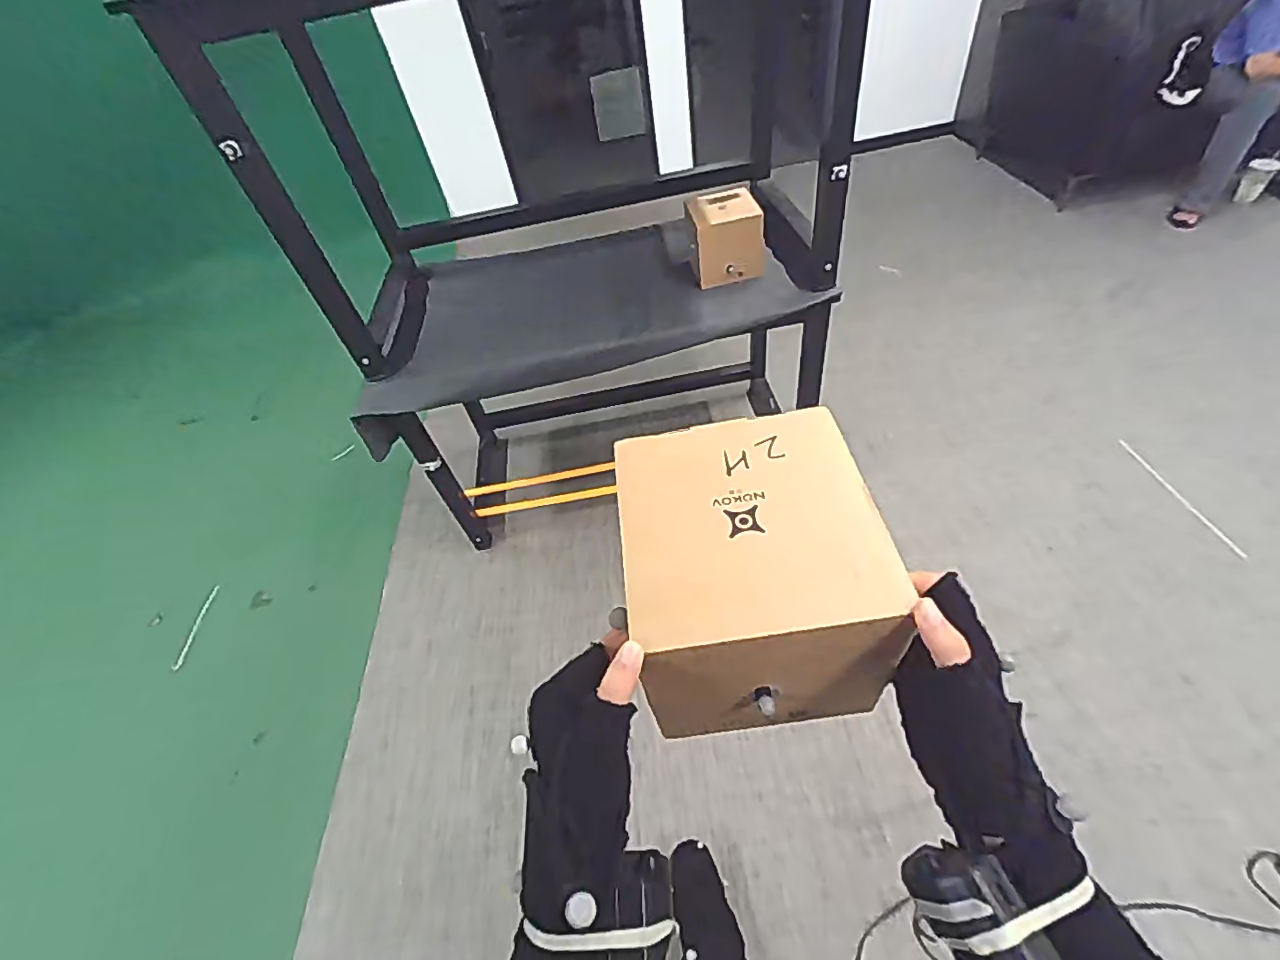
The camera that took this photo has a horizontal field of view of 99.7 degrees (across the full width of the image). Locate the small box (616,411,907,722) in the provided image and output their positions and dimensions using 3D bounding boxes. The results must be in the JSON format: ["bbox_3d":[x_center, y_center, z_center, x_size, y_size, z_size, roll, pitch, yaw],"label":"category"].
[{"bbox_3d":[0.080,0.076,0.427,0.168,0.176,0.179,-9,48,2],"label":"small box"}]
